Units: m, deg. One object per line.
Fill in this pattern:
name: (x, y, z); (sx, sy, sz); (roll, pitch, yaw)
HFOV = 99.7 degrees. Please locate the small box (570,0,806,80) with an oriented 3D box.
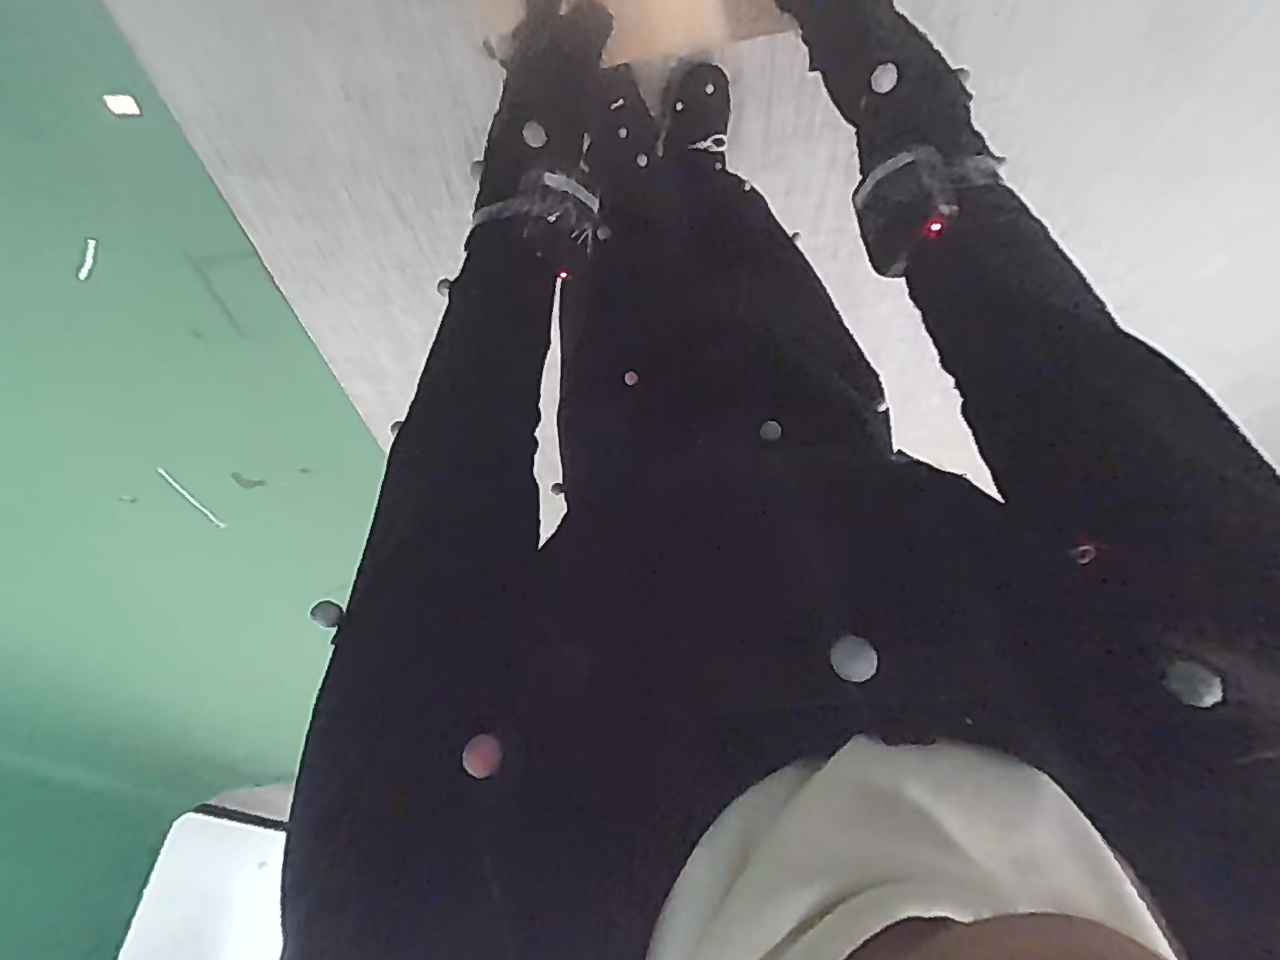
small box: (0.024, -0.437, 0.422); (0.179, 0.176, 0.168); (-9, 133, 3)
